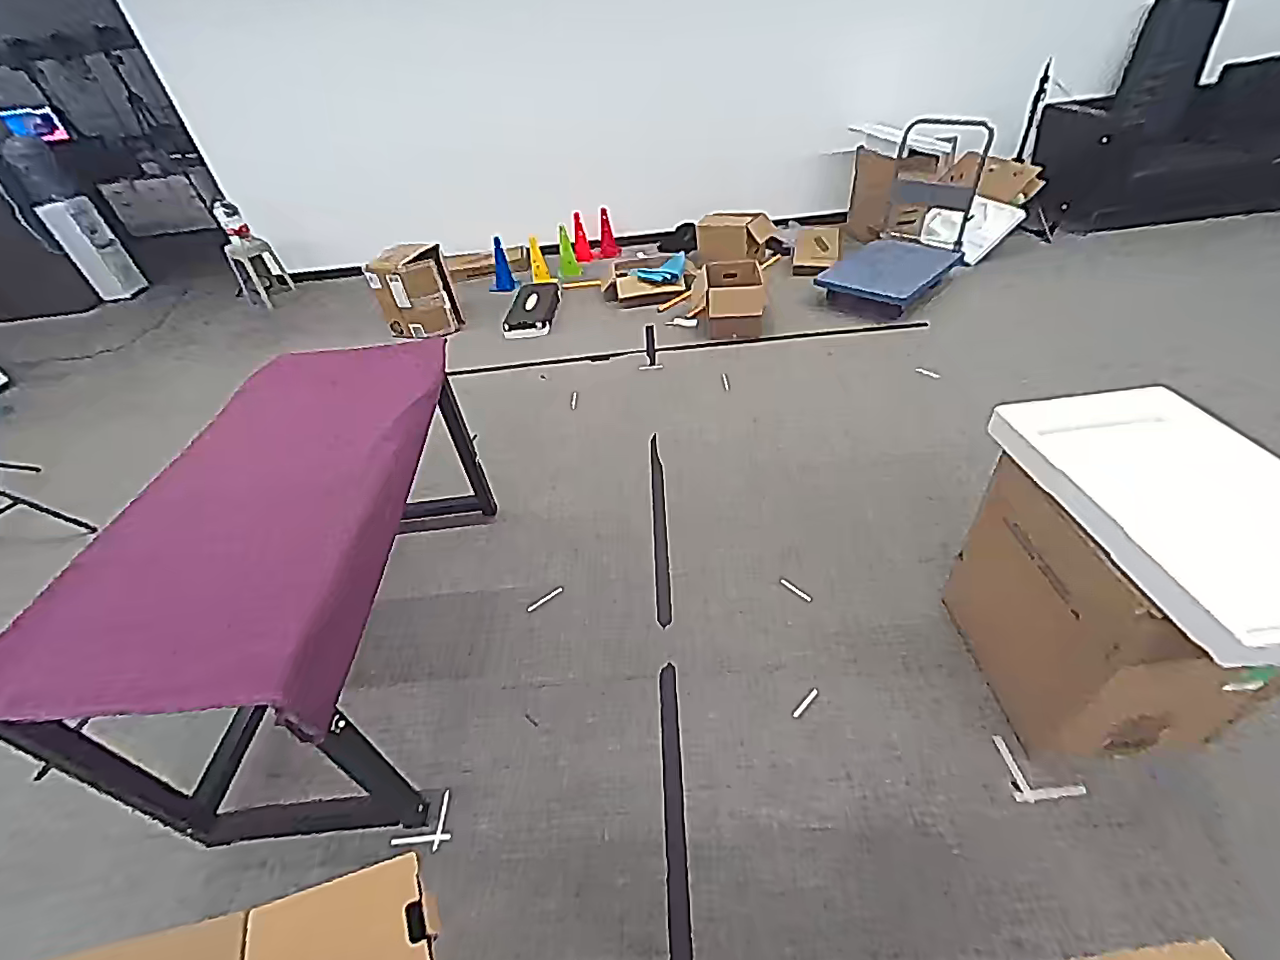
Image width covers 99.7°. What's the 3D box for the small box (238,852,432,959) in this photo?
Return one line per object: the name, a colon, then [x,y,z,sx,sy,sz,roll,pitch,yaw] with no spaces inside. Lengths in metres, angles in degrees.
small box: [-0.328,0.567,0.590,0.179,0.176,0.168,-2,25,-31]
